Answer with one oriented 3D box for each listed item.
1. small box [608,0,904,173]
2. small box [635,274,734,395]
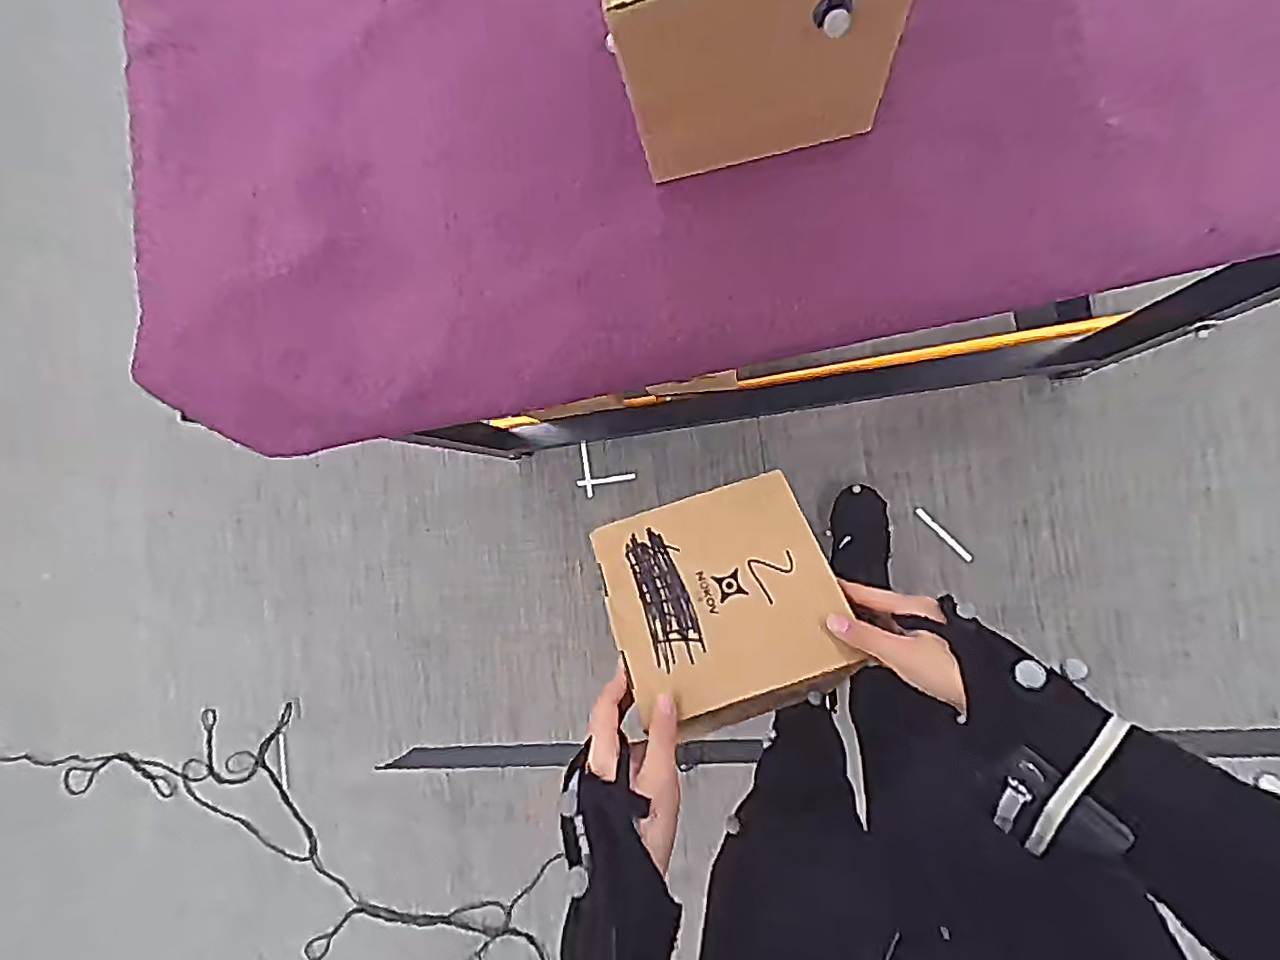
[{"bbox_3d":[0.073,-0.350,0.370,0.179,0.176,0.168,-8,85,11],"label":"small box"},{"bbox_3d":[0.087,-0.255,0.996,0.168,0.176,0.179,-2,88,10],"label":"small box"}]
